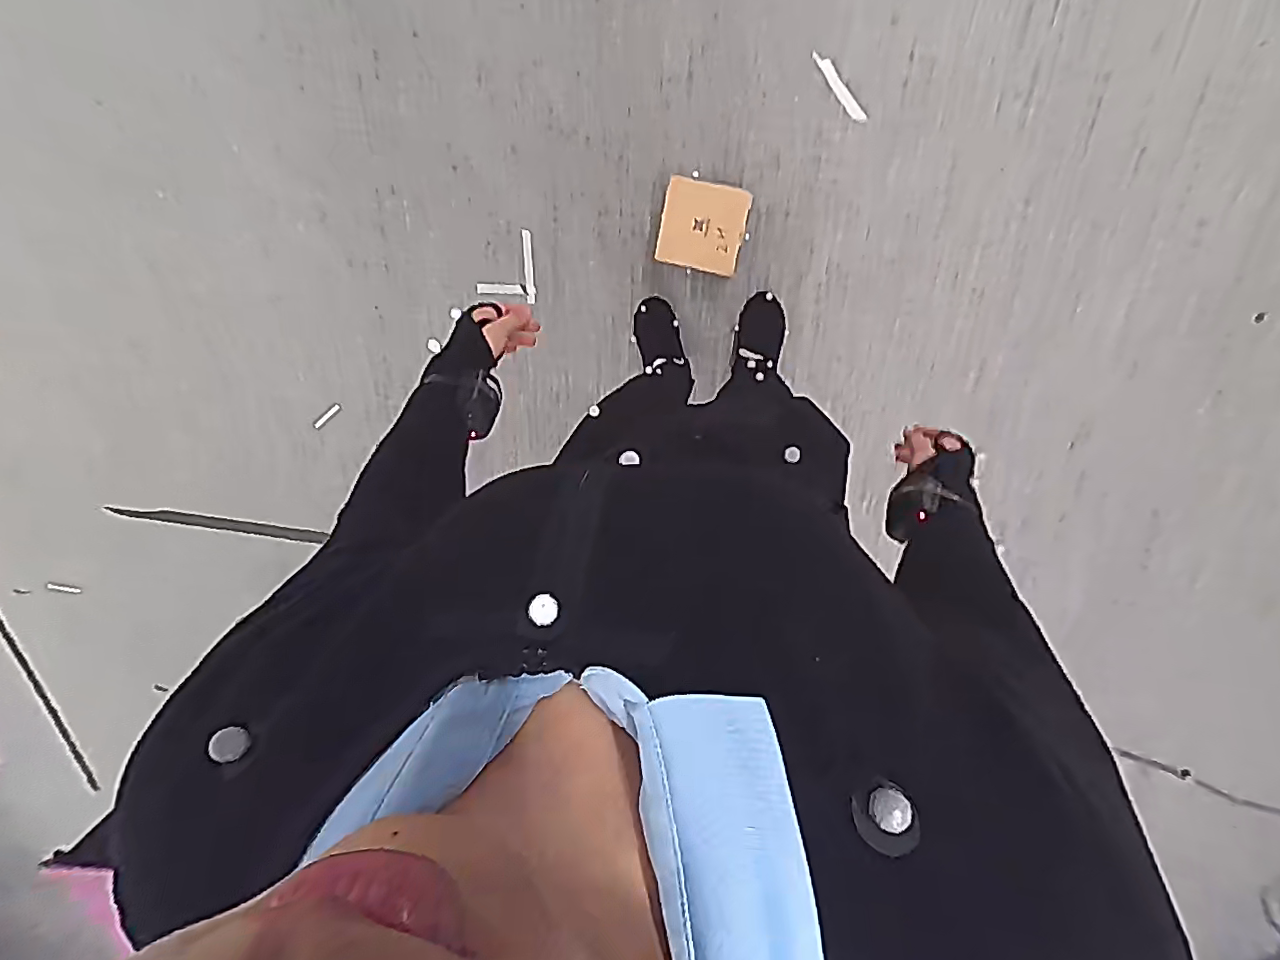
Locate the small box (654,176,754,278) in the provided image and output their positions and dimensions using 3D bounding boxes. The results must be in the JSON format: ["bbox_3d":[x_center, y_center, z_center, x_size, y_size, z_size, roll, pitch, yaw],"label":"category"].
[{"bbox_3d":[0.141,-0.555,1.193,0.179,0.176,0.168,14,116,3],"label":"small box"}]
